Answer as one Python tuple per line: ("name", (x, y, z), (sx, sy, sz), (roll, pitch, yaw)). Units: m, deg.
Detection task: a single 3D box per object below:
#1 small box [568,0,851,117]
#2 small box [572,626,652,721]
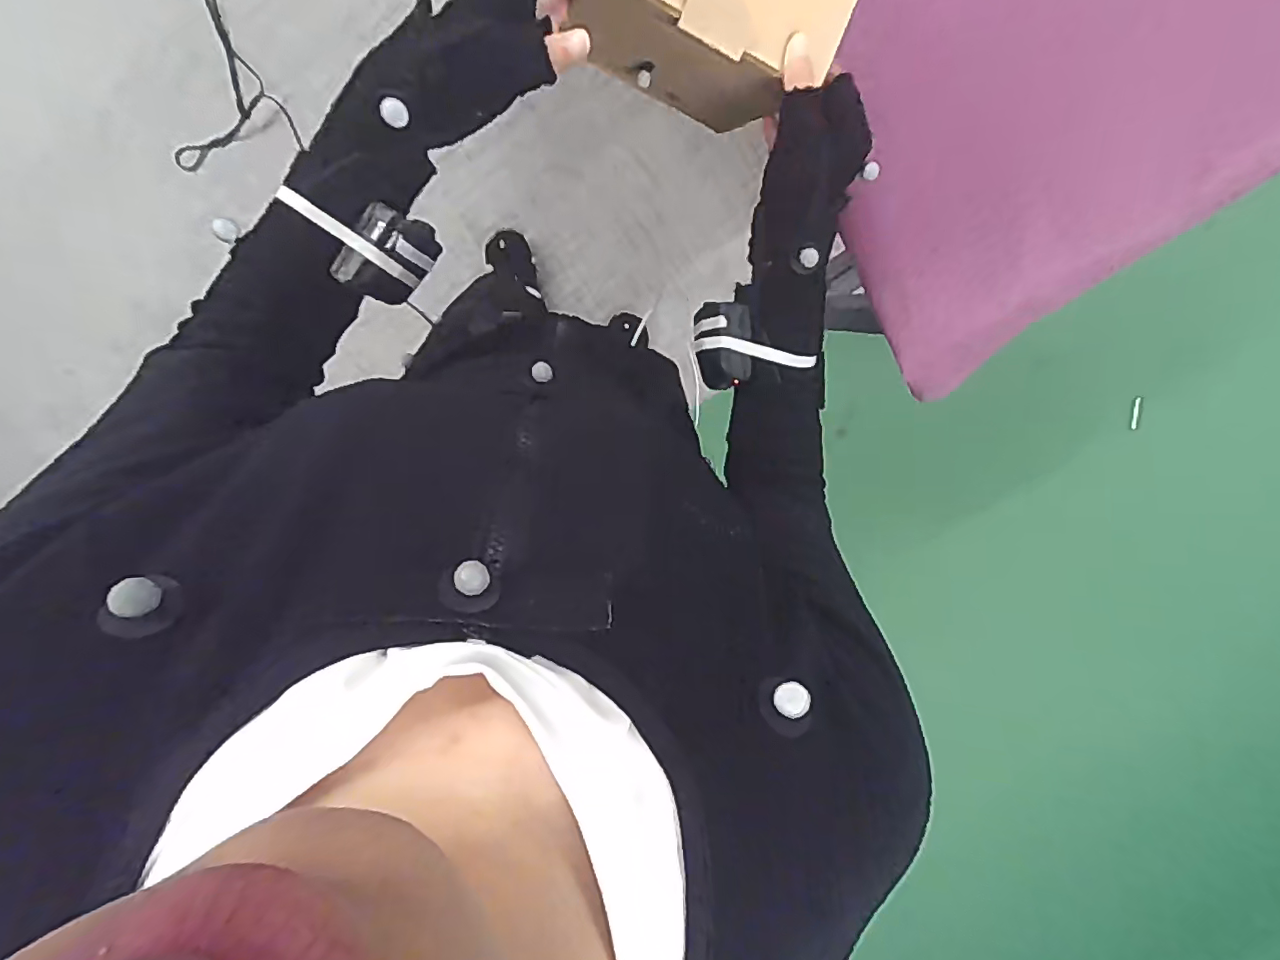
("small box", (0.056, -0.394, 0.380), (0.168, 0.176, 0.179), (14, 112, -21))
("small box", (-0.080, 0.558, 1.590), (0.168, 0.176, 0.179), (-31, 106, 9))
